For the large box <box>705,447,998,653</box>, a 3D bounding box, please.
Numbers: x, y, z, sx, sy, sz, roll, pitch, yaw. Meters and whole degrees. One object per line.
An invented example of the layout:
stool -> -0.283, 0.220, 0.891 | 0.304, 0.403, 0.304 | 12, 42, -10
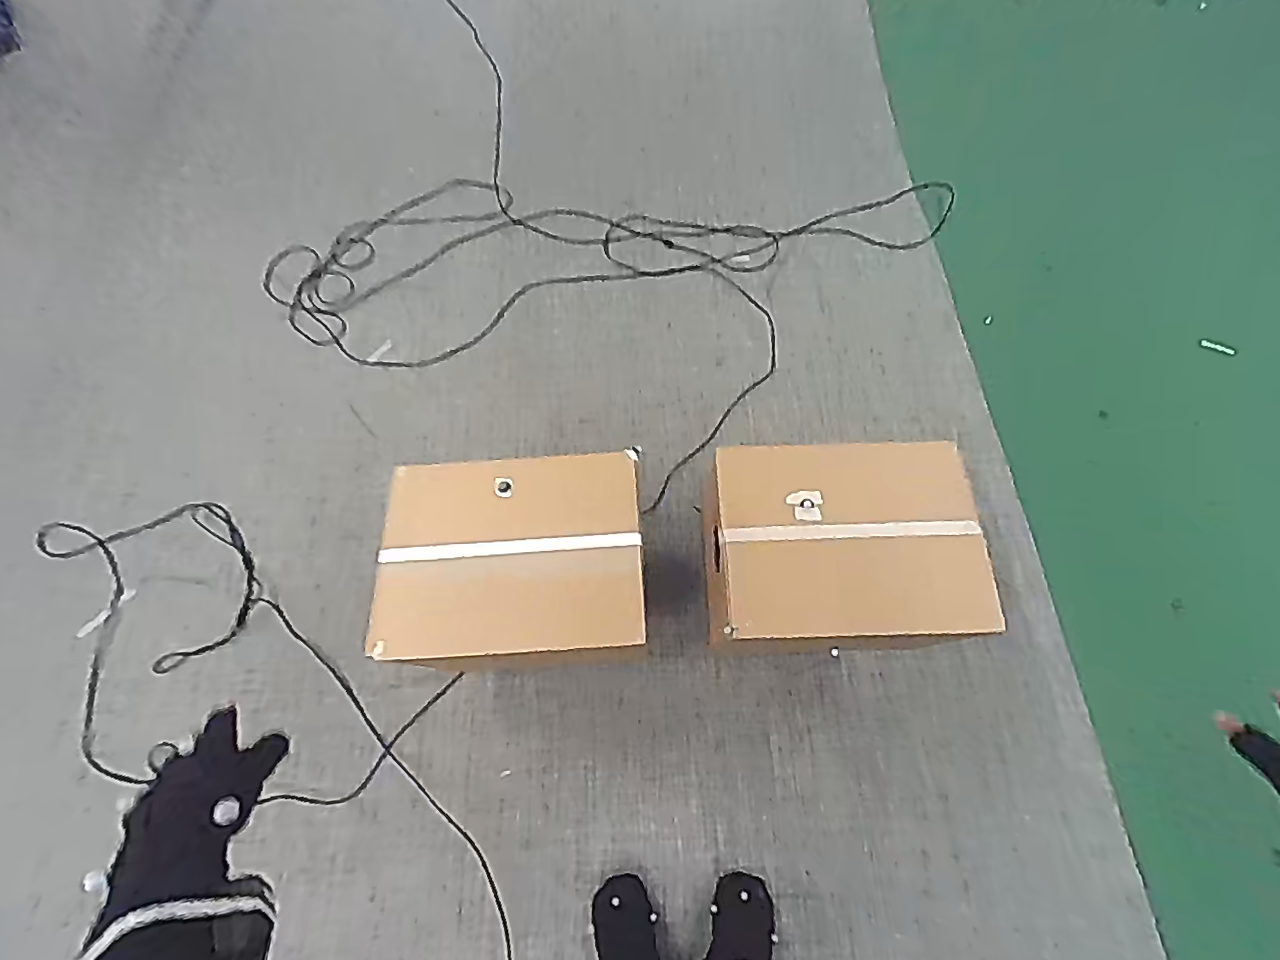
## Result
large box -> 0.341, 0.148, 1.002 | 0.408, 0.320, 0.320 | -2, 68, 1
